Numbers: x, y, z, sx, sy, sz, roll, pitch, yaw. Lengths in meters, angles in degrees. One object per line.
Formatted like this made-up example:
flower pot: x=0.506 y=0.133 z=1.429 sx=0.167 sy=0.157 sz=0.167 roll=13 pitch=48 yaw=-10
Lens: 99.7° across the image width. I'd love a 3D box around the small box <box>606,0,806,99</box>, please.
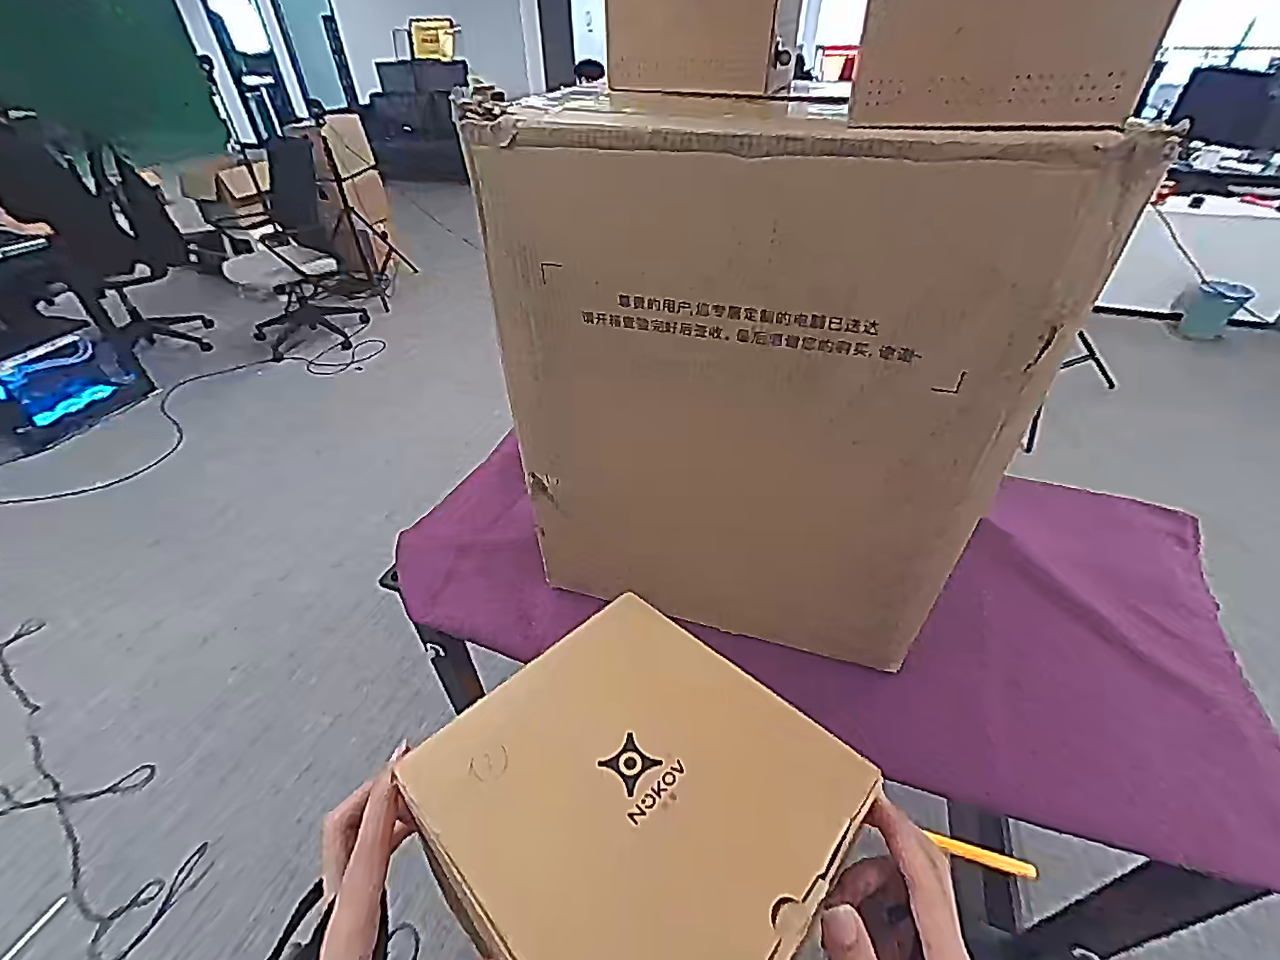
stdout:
small box: x=0.076 y=-0.508 z=0.563 sx=0.179 sy=0.176 sz=0.168 roll=14 pitch=40 yaw=18
